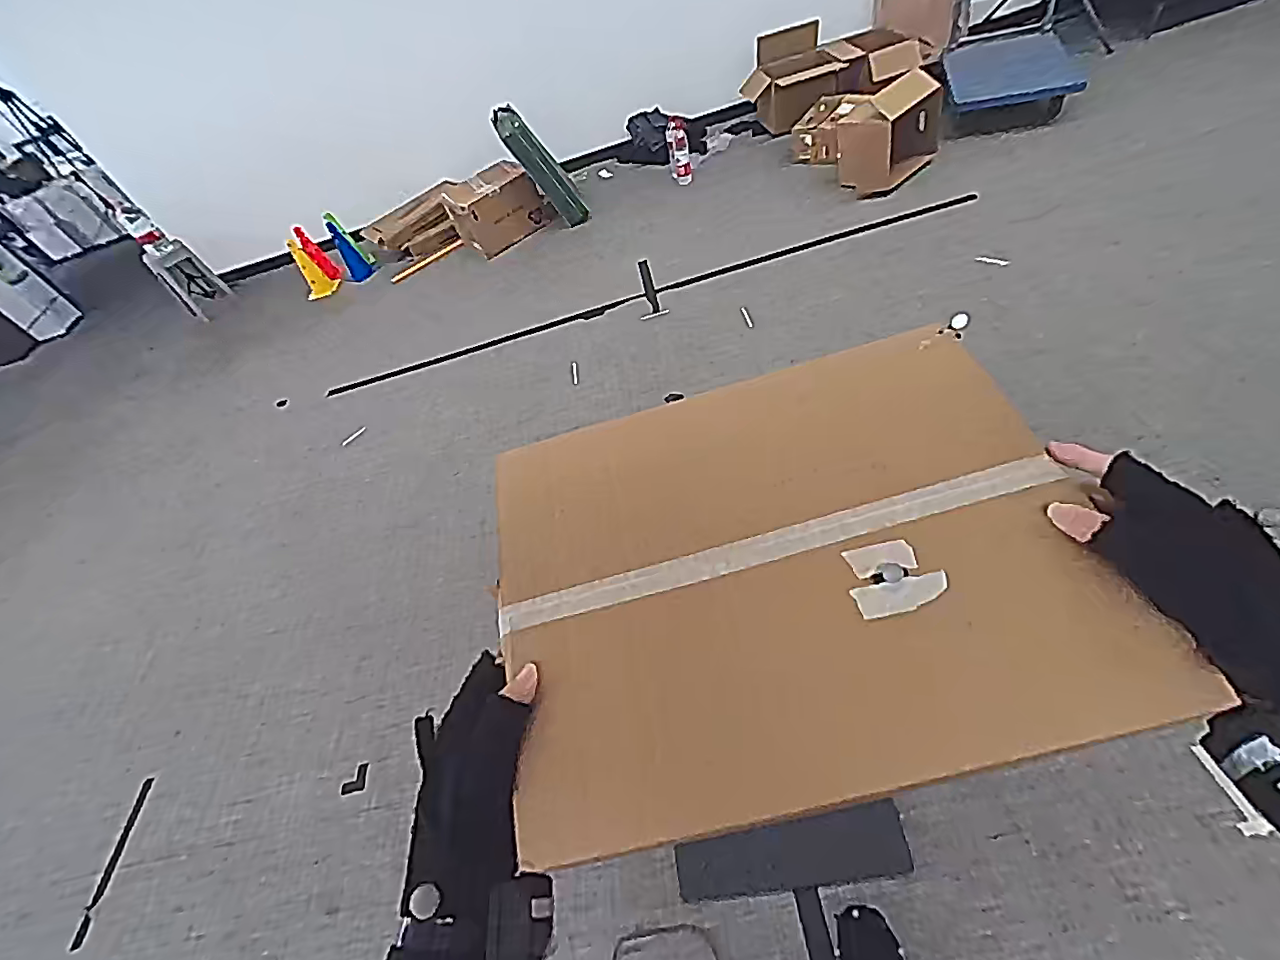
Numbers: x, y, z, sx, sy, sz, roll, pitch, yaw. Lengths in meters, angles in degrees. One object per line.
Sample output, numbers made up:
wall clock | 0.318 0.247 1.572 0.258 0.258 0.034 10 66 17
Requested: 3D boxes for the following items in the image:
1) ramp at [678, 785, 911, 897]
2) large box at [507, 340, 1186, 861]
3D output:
ramp | 0.266 0.428 1.395 0.509 0.206 0.991 -14 49 5
large box | 0.126 0.133 0.526 0.408 0.320 0.320 -16 57 4
